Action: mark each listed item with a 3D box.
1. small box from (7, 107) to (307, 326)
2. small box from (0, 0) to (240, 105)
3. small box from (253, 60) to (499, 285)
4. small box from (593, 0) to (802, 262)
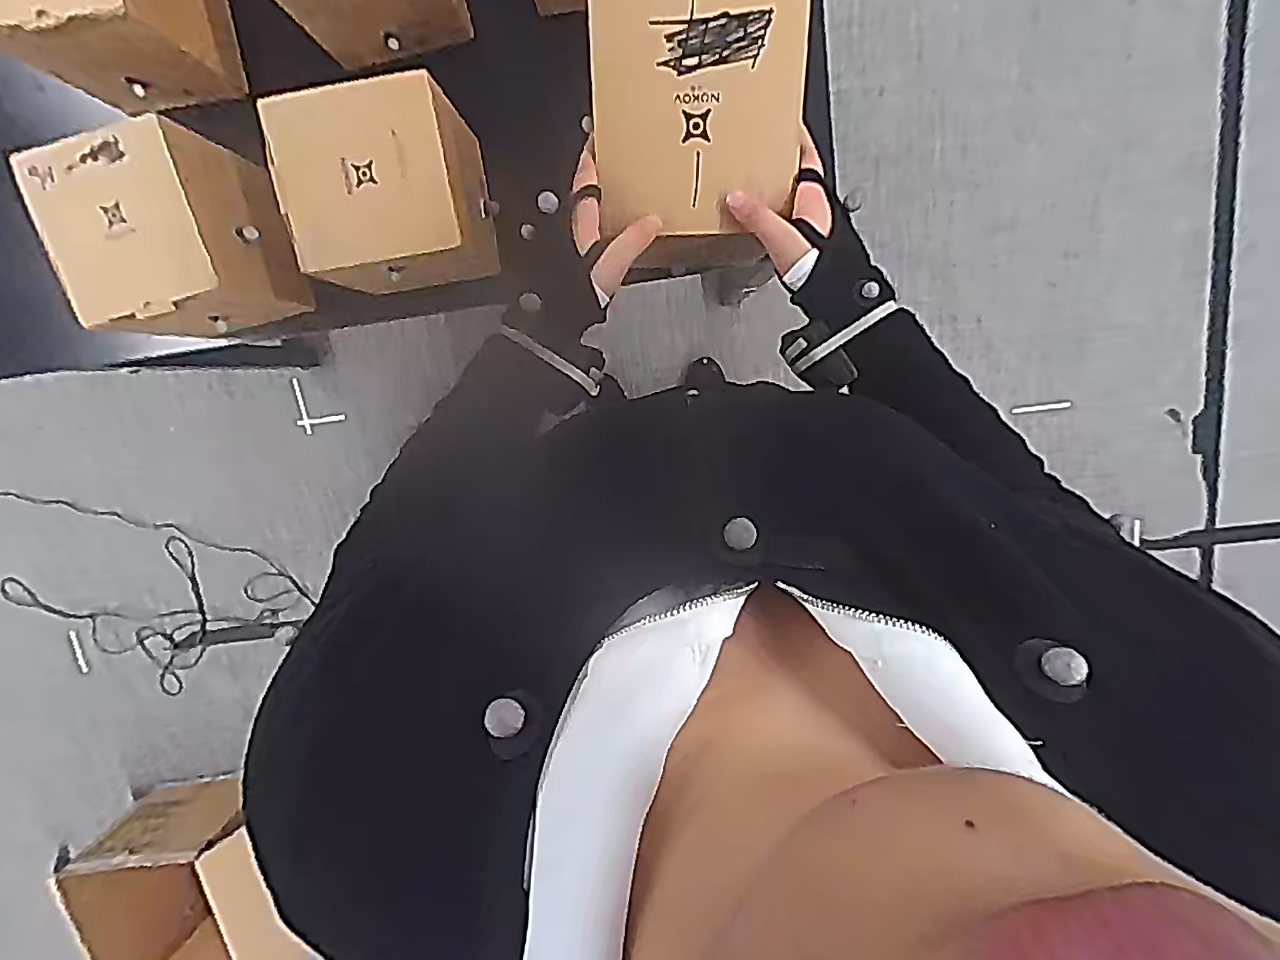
[{"bbox_3d":[-0.534,-0.284,0.631,0.168,0.176,0.179,-14,101,4],"label":"small box"},{"bbox_3d":[-0.582,-0.546,0.579,0.168,0.176,0.179,-7,102,2],"label":"small box"},{"bbox_3d":[-0.281,-0.329,0.618,0.179,0.176,0.168,-9,102,2],"label":"small box"},{"bbox_3d":[0.043,-0.313,0.508,0.168,0.176,0.179,-1,103,0],"label":"small box"}]
